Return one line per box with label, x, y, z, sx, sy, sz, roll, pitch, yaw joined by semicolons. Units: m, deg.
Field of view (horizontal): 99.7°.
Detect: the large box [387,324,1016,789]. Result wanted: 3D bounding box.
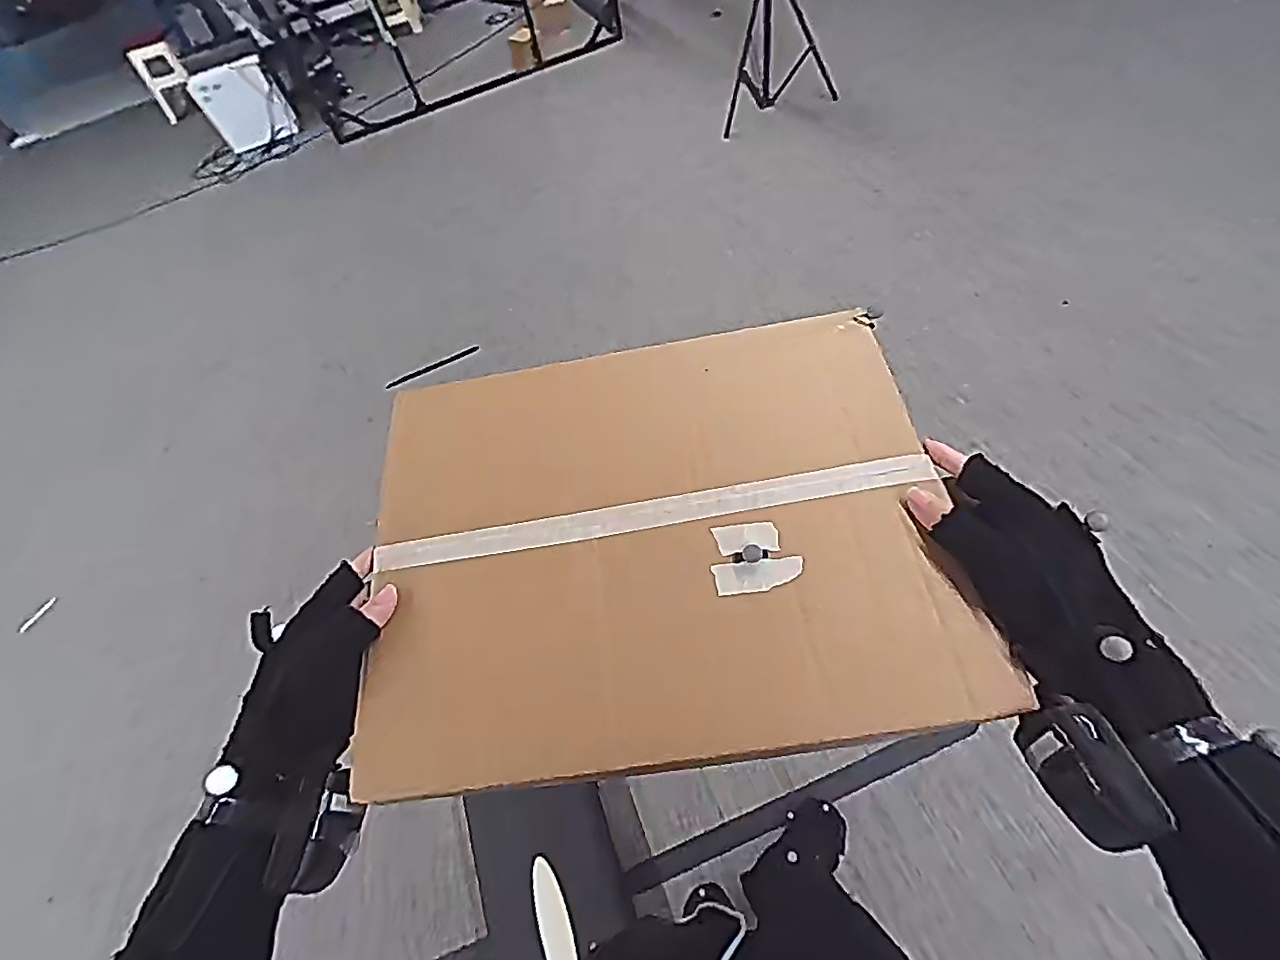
large box;0.032;0.099;0.534;0.408;0.320;0.320;-9;62;3
